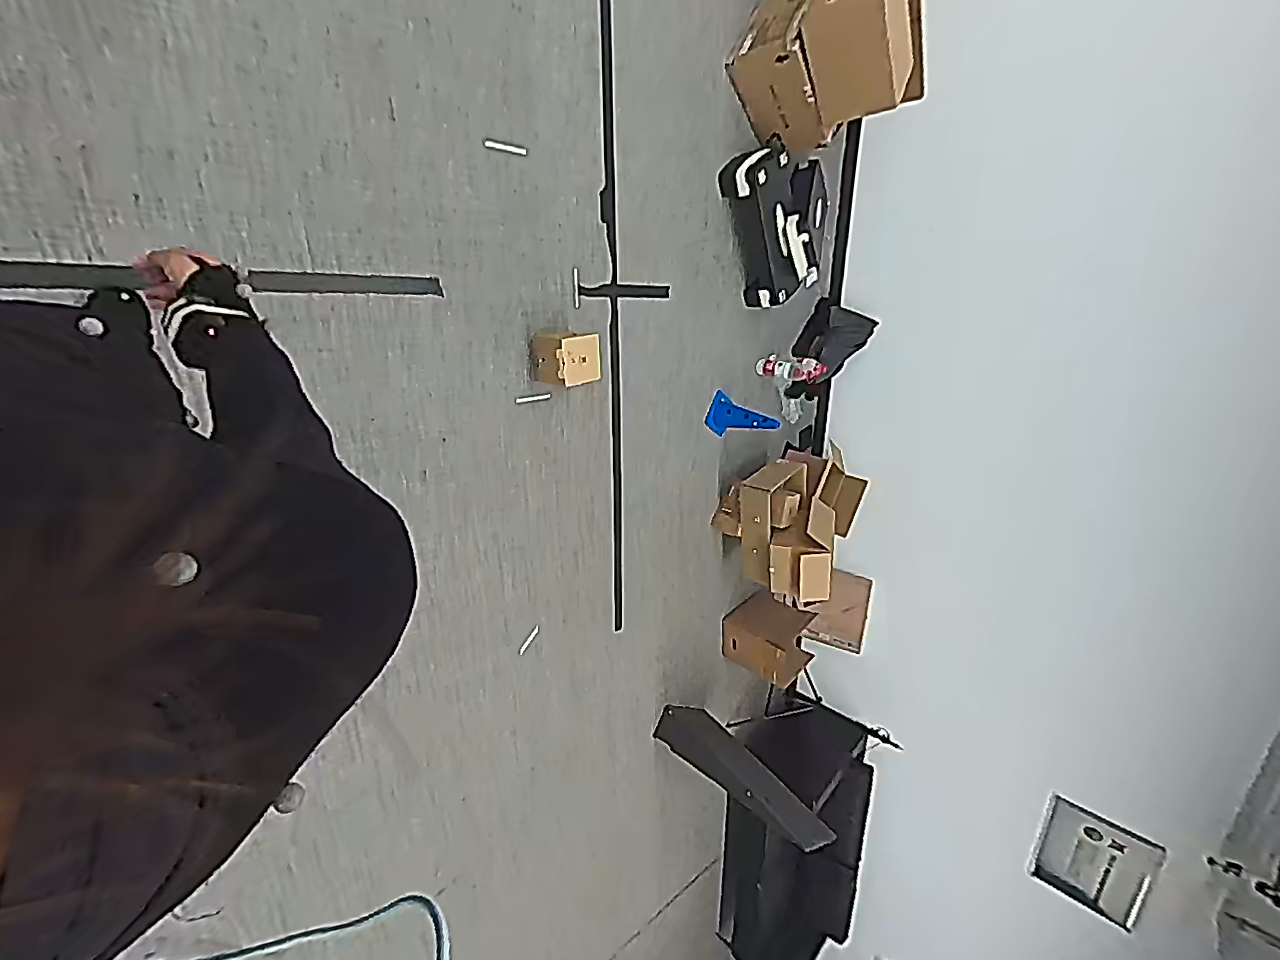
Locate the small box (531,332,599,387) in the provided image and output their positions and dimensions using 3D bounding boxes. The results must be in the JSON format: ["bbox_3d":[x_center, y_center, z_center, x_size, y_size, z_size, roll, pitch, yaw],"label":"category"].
[{"bbox_3d":[-0.269,-0.442,1.957,0.179,0.176,0.168,-22,120,-41],"label":"small box"}]
